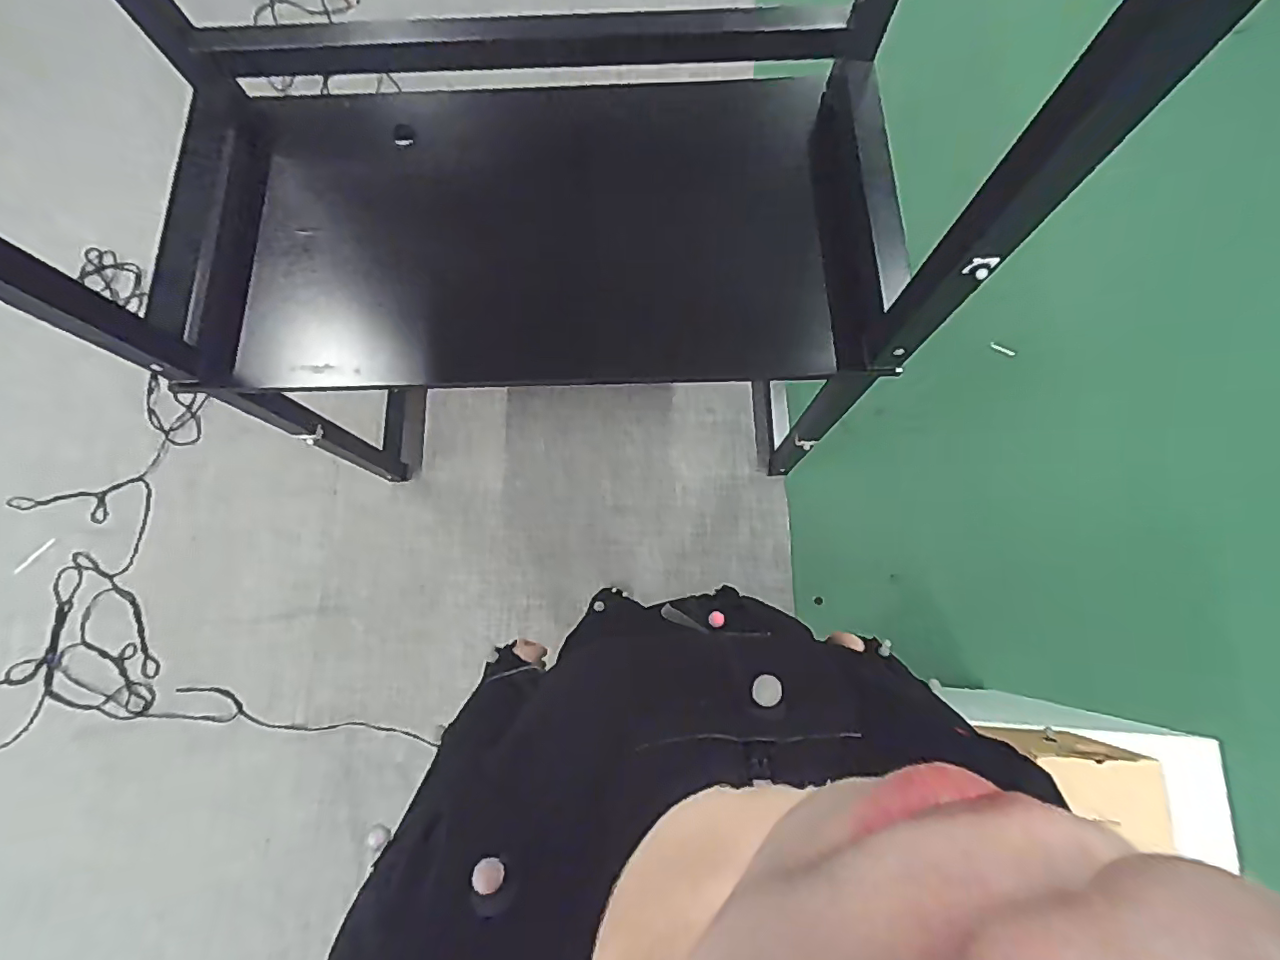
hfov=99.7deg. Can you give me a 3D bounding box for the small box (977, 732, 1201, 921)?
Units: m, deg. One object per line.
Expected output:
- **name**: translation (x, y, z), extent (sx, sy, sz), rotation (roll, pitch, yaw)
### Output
- **small box**: translation (0.595, 0.459, 0.746), extent (0.168, 0.176, 0.179), rotation (2, 77, 3)
